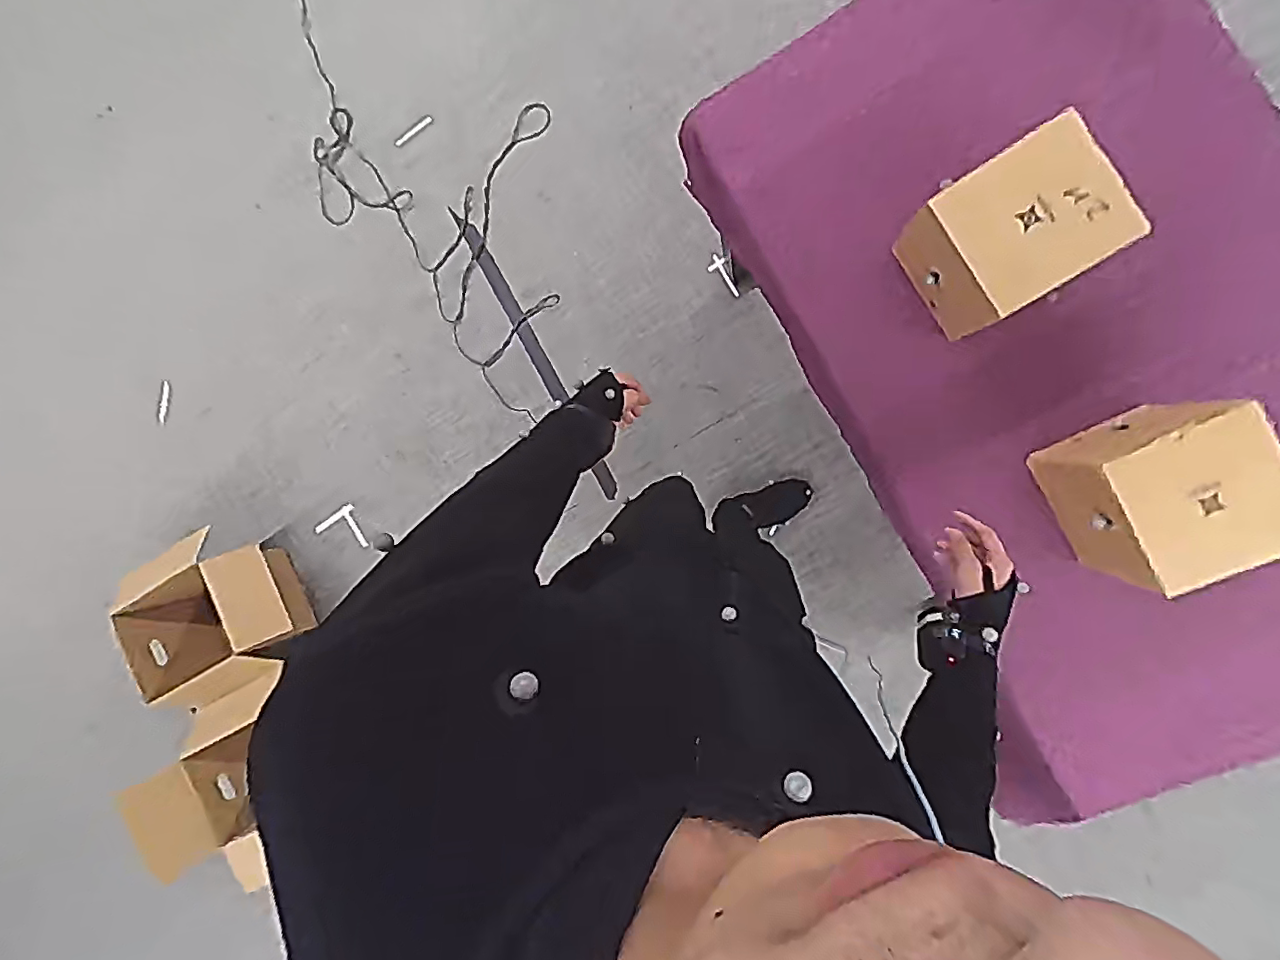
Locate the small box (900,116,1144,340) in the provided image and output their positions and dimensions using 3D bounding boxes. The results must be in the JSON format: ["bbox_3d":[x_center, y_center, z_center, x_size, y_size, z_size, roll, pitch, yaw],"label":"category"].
[{"bbox_3d":[0.463,-0.302,0.696,0.179,0.176,0.168,-31,89,11],"label":"small box"}]

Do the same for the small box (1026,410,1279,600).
[{"bbox_3d":[0.649,0.023,0.692,0.168,0.176,0.179,-26,89,12],"label":"small box"}]
